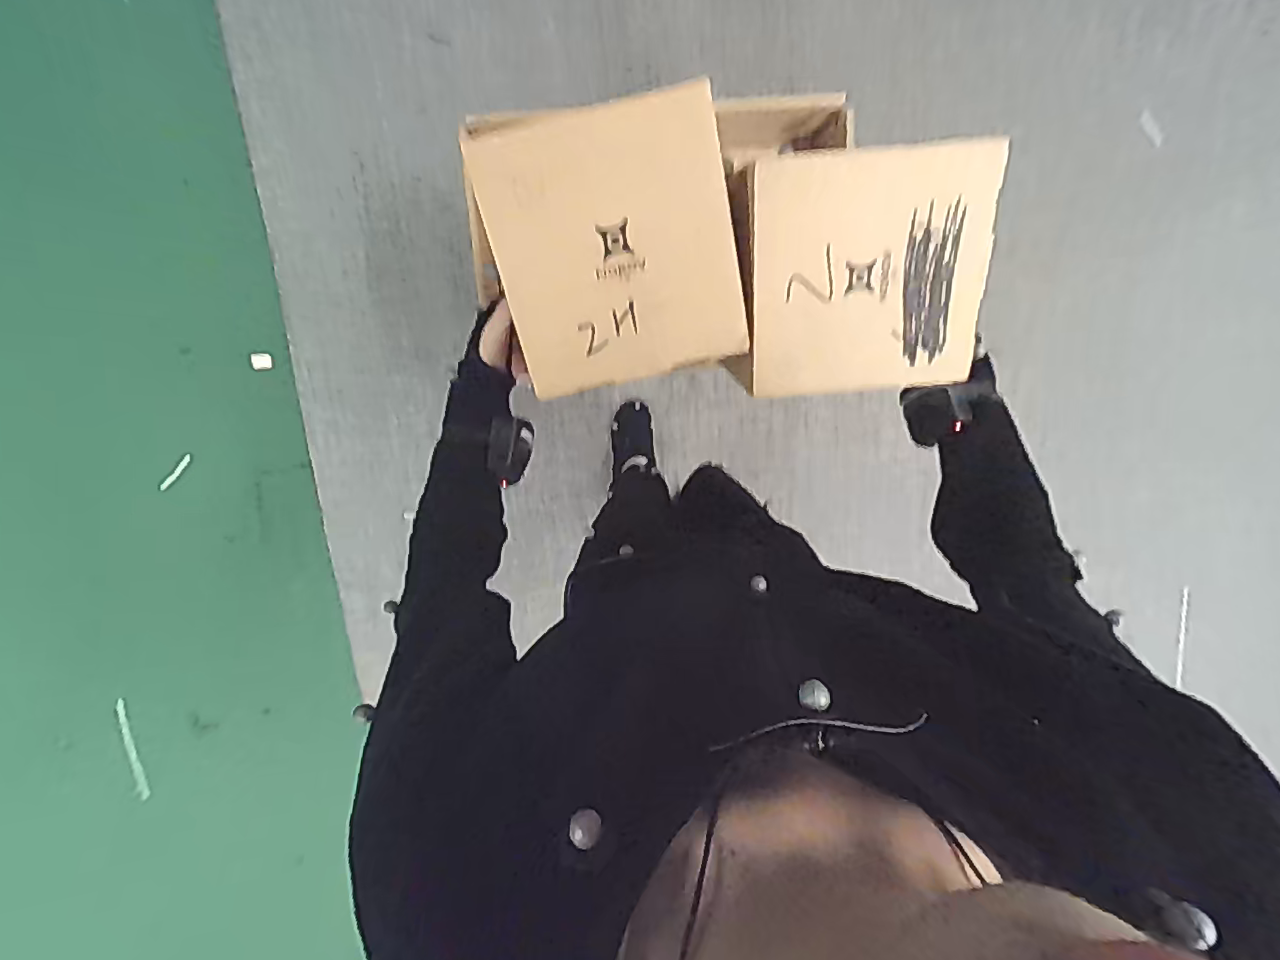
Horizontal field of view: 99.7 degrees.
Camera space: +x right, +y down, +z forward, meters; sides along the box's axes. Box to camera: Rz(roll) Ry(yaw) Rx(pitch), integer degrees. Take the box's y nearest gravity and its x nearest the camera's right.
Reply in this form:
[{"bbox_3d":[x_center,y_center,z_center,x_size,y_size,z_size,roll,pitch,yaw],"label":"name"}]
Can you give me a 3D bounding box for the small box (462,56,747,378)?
[{"bbox_3d":[-0.023,-0.196,0.441,0.168,0.176,0.179,-13,110,1],"label":"small box"}]
